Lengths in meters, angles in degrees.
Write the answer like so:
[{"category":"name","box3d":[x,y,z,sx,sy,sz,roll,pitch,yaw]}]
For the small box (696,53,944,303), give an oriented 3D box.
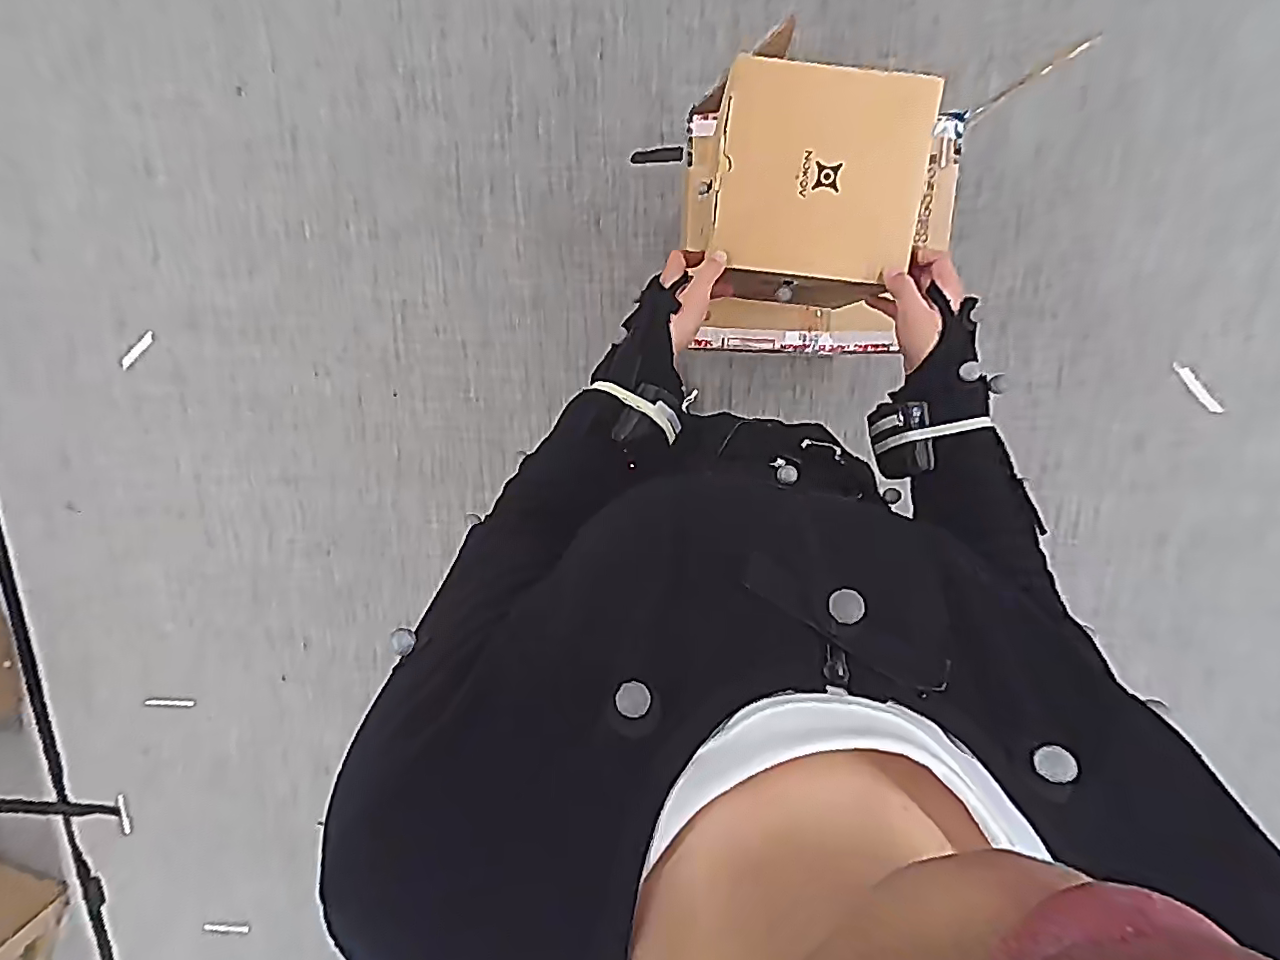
[{"category":"small box","box3d":[0.157,-0.277,0.537,0.179,0.176,0.168,7,101,1]}]
